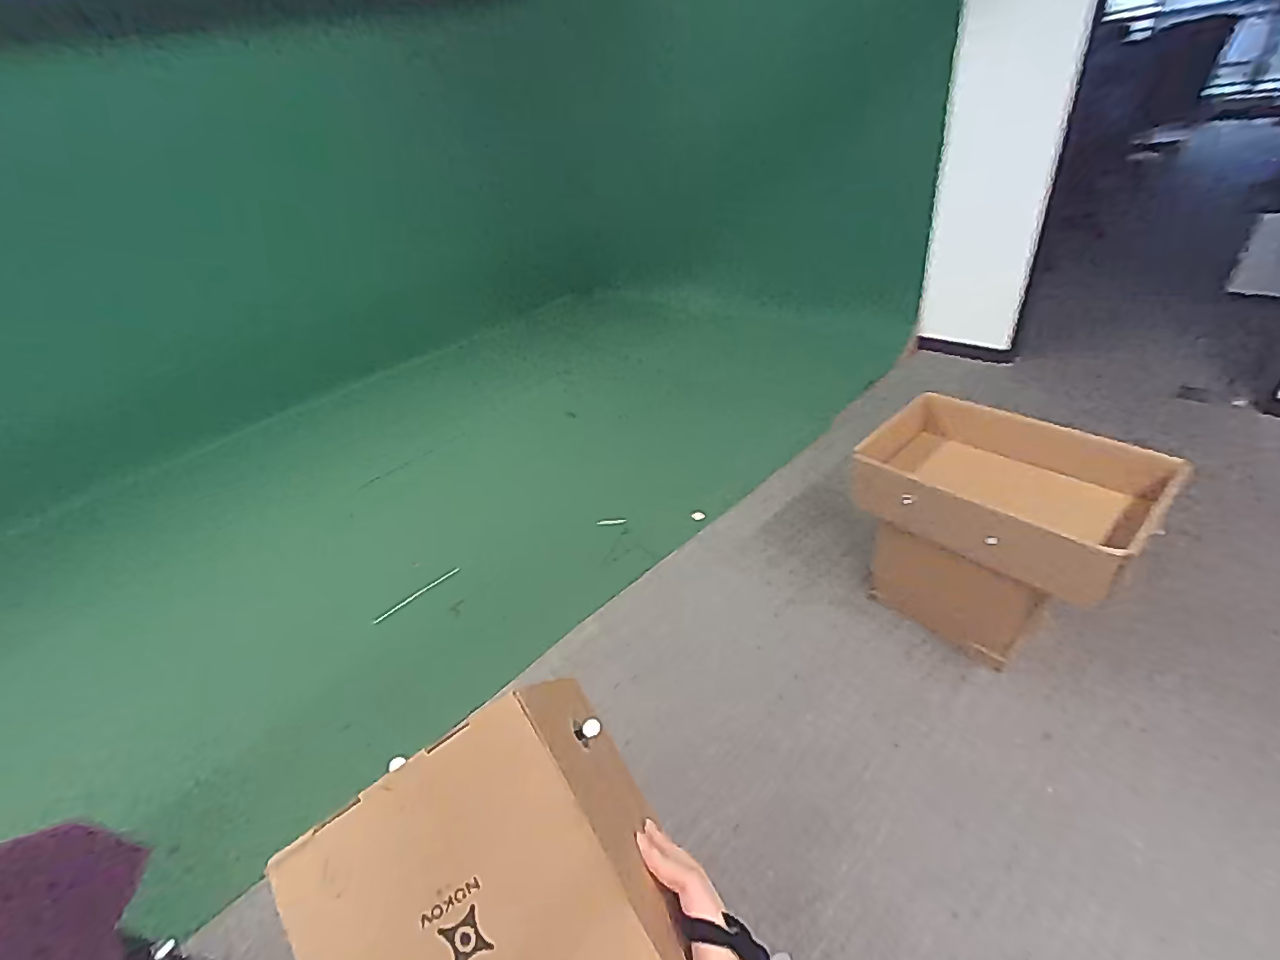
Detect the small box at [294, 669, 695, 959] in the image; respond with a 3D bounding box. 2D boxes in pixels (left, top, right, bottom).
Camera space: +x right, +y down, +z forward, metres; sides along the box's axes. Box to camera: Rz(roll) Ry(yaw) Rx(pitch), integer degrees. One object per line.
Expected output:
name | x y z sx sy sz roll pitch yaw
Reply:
small box | -0.078 0.248 0.365 0.168 0.176 0.179 -33 73 -4
